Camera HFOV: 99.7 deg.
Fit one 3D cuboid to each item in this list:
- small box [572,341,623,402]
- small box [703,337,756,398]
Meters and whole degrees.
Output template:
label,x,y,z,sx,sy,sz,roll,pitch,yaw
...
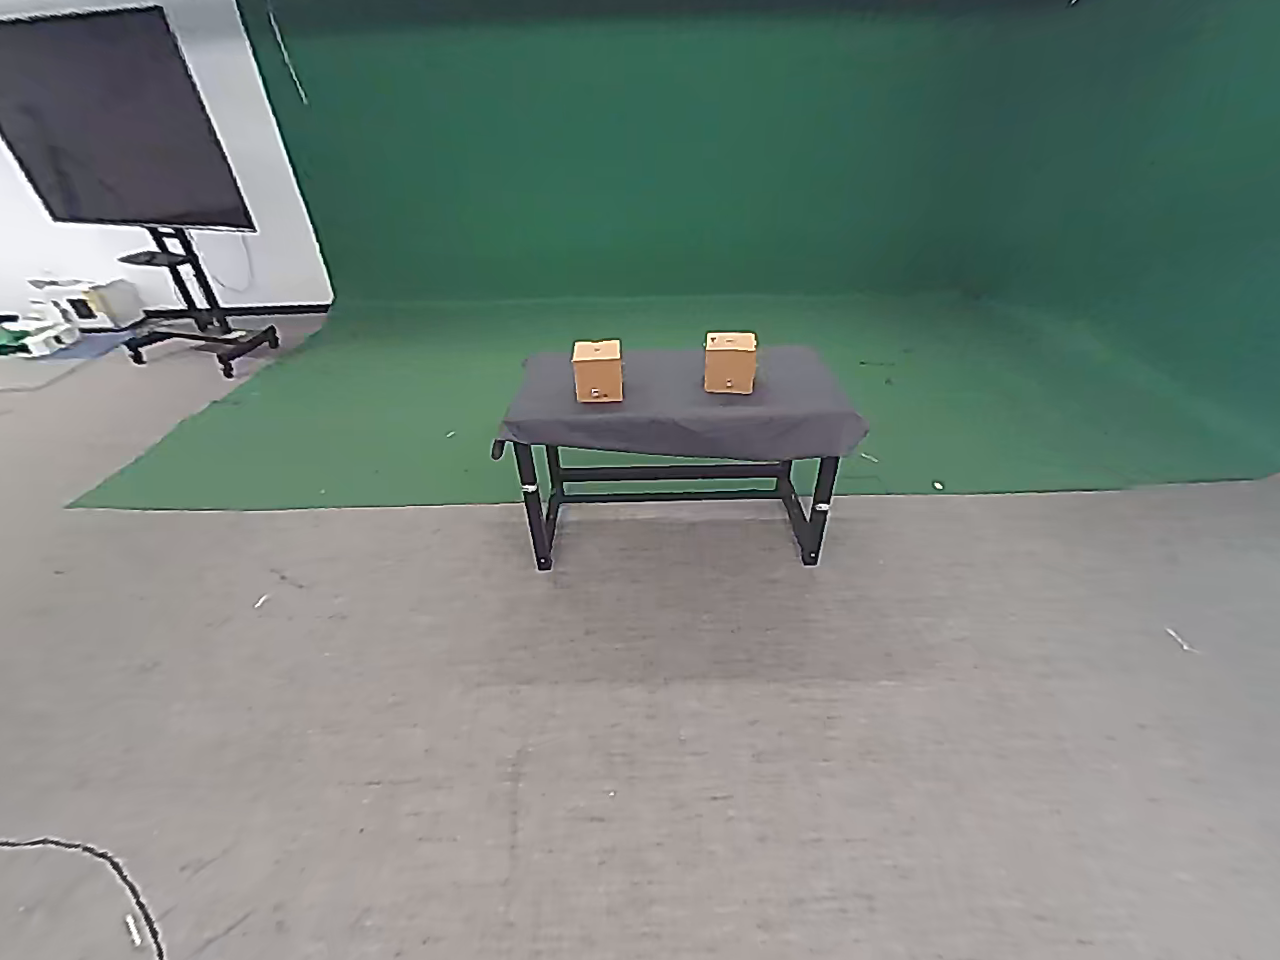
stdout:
label,x,y,z,sx,sy,sz,roll,pitch,yaw
small box,-0.151,-0.394,1.963,0.168,0.176,0.179,-3,35,1
small box,0.330,-0.415,2.002,0.179,0.176,0.168,4,35,7
